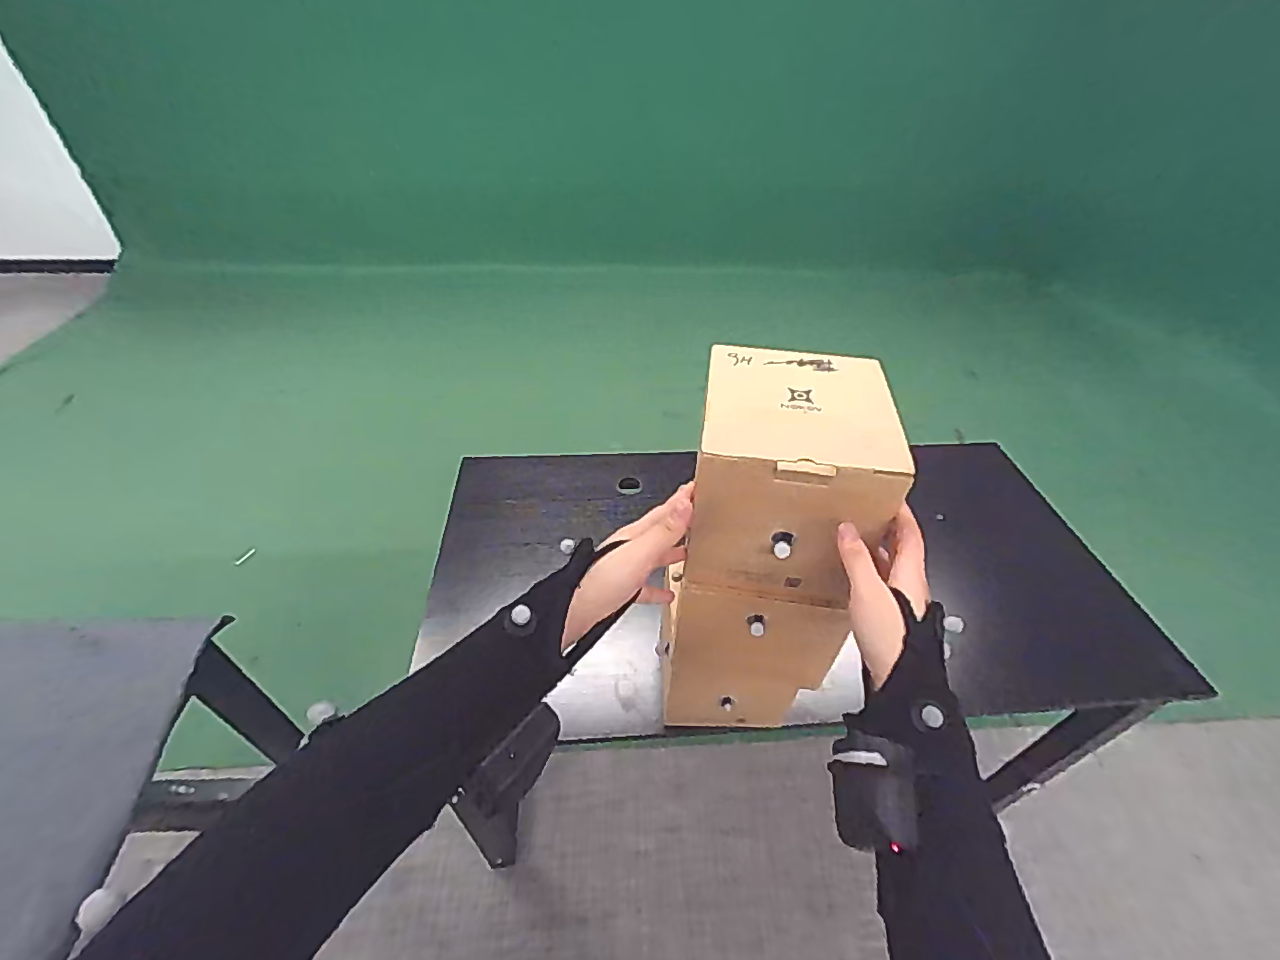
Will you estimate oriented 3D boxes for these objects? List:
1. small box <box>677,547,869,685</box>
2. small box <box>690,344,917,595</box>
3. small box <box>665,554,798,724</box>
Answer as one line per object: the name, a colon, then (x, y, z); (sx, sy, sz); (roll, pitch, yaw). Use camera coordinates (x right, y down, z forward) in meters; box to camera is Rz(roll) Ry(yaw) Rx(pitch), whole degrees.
small box: (0.143, 0.120, 0.633); (0.179, 0.176, 0.168); (7, 43, 5)
small box: (0.142, -0.009, 0.529); (0.168, 0.176, 0.179); (7, 44, 5)
small box: (0.124, 0.224, 0.759); (0.168, 0.176, 0.179); (2, 43, -1)
